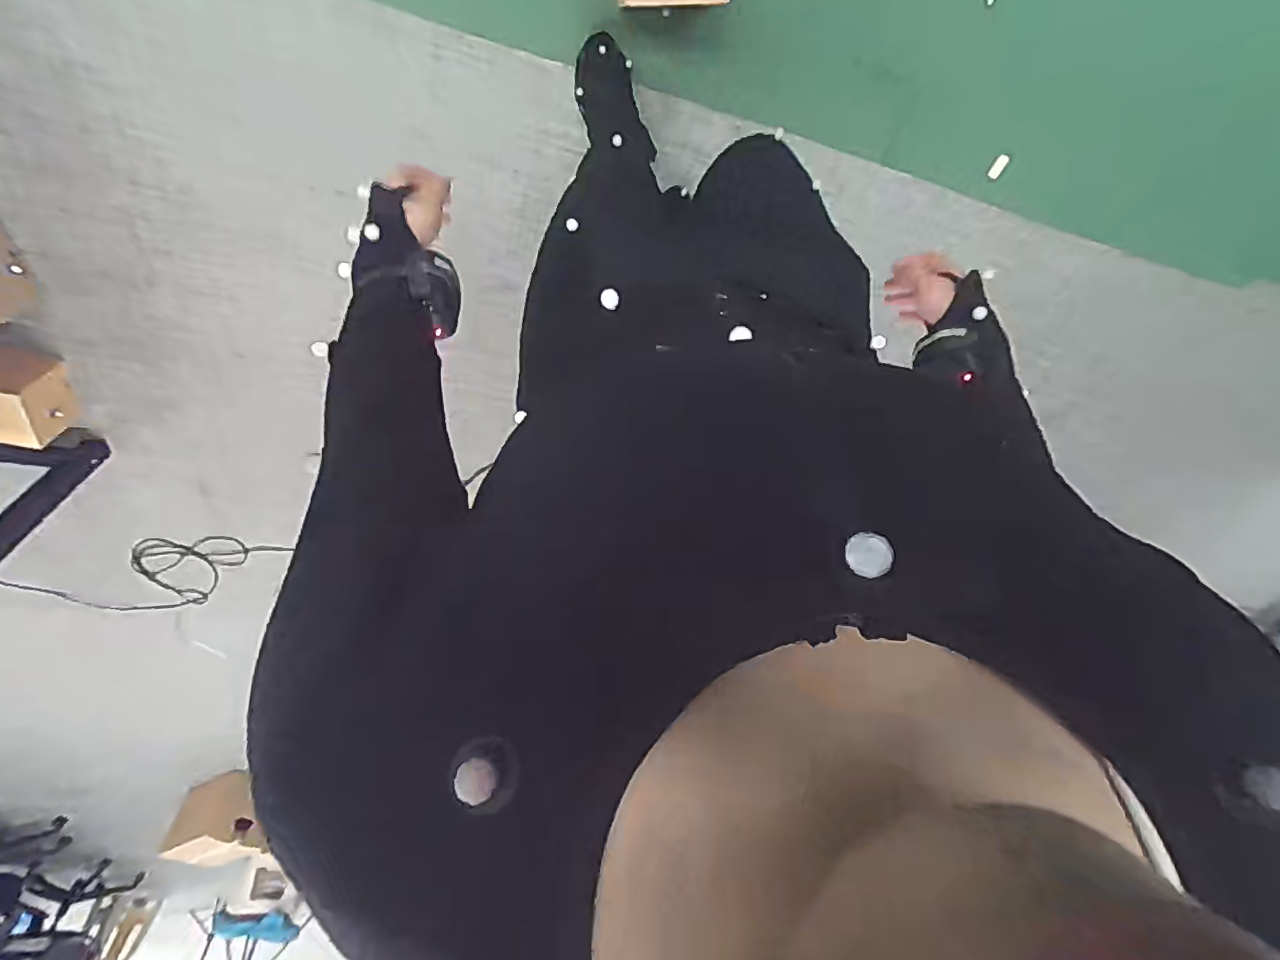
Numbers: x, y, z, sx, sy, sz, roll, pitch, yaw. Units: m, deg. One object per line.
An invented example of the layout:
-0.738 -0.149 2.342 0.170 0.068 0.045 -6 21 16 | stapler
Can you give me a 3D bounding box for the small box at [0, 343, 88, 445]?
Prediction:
-1.514 -0.213 1.322 0.179 0.176 0.168 11 130 -16 | small box
